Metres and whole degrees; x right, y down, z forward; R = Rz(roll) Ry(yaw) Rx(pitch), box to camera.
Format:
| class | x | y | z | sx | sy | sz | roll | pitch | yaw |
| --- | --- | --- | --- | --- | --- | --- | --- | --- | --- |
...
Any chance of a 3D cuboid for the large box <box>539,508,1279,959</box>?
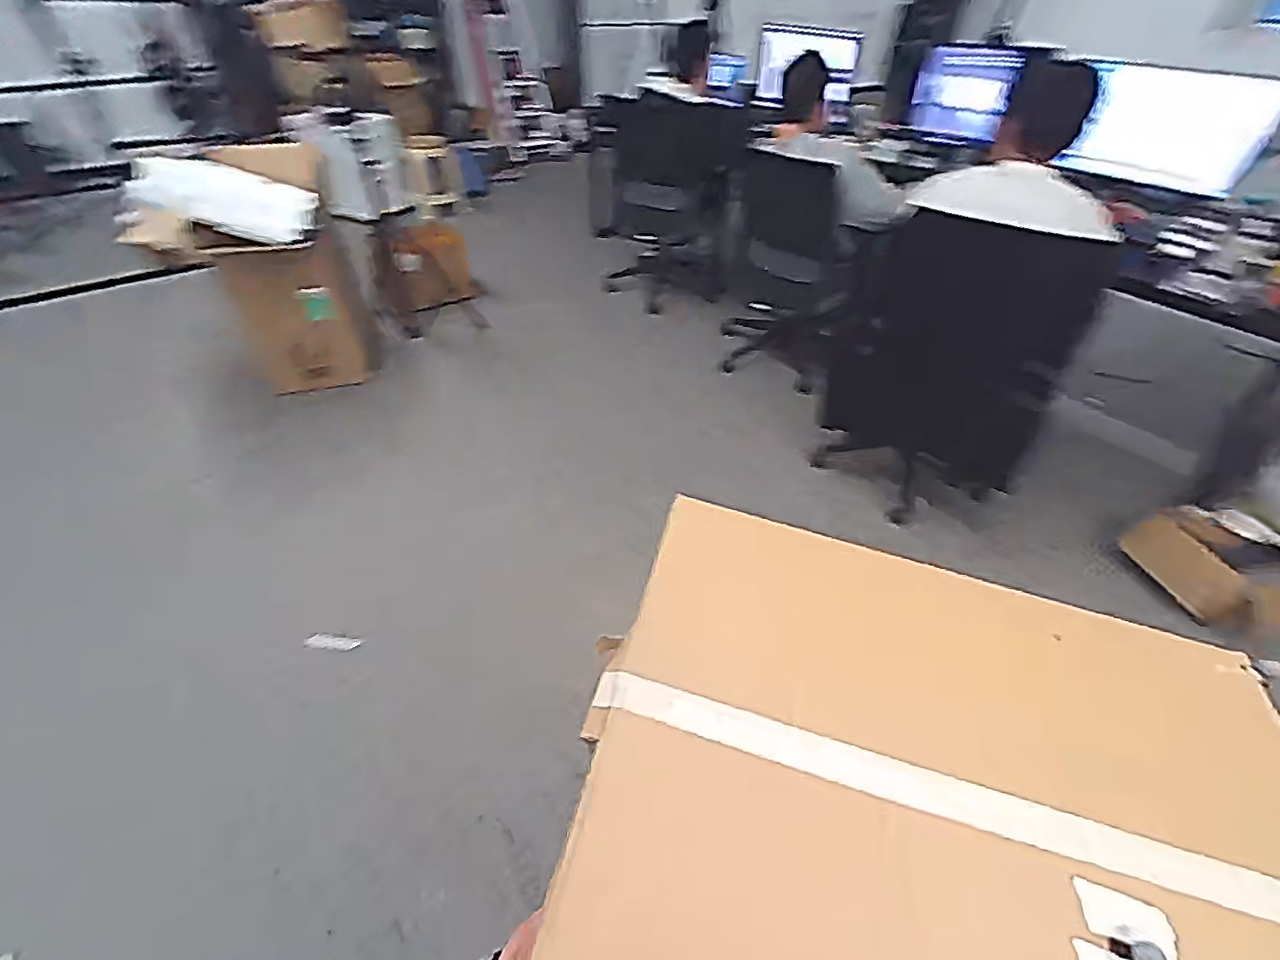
| class | x | y | z | sx | sy | sz | roll | pitch | yaw |
| --- | --- | --- | --- | --- | --- | --- | --- | --- | --- |
| large box | 0.156 | 0.274 | 0.416 | 0.408 | 0.320 | 0.320 | 16 | 50 | 5 |
